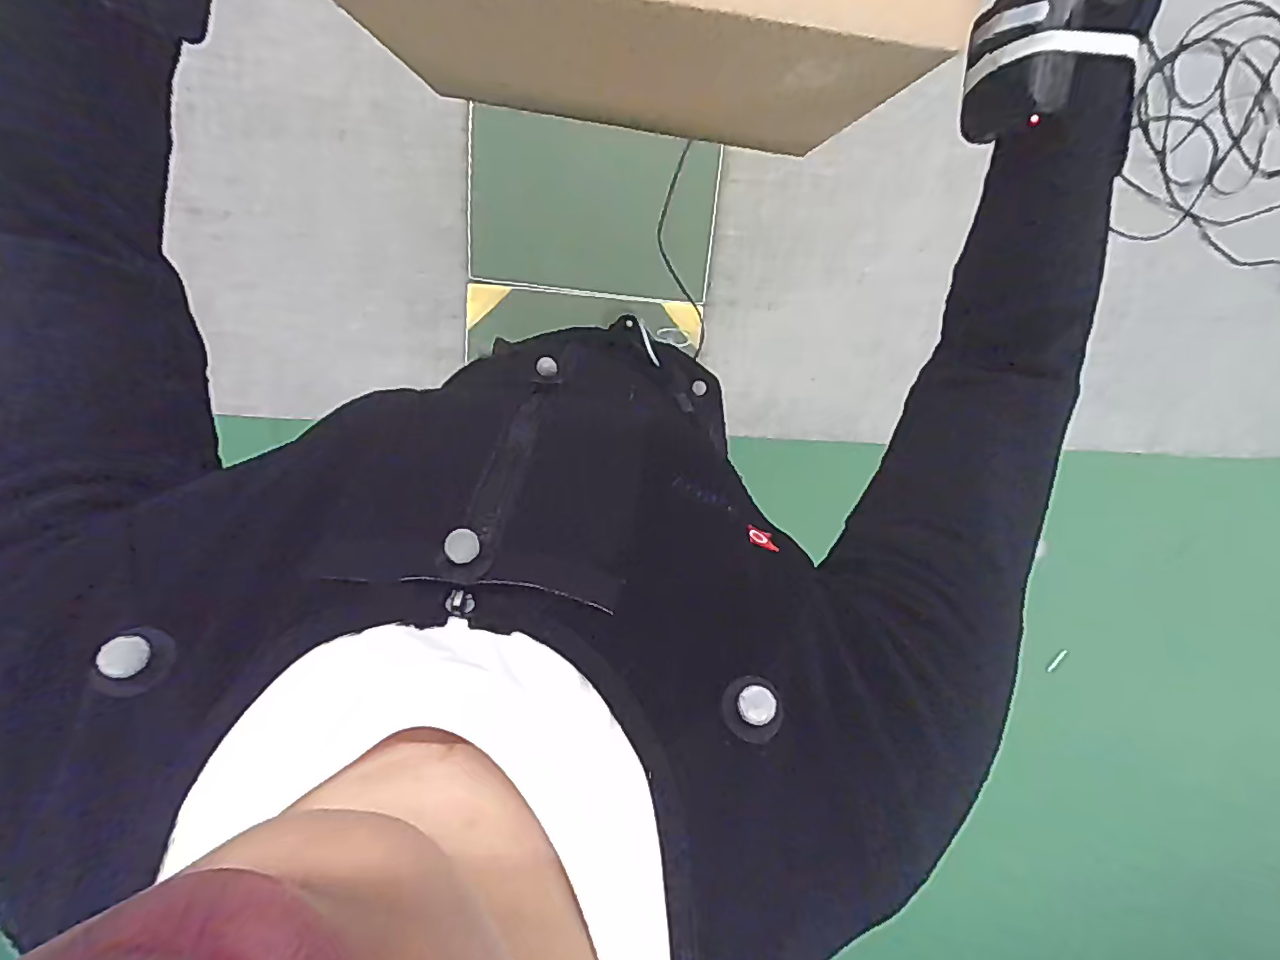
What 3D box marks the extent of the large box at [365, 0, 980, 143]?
[{"bbox_3d":[0.012,-0.478,0.393,0.408,0.320,0.320,6,112,-5],"label":"large box"}]
